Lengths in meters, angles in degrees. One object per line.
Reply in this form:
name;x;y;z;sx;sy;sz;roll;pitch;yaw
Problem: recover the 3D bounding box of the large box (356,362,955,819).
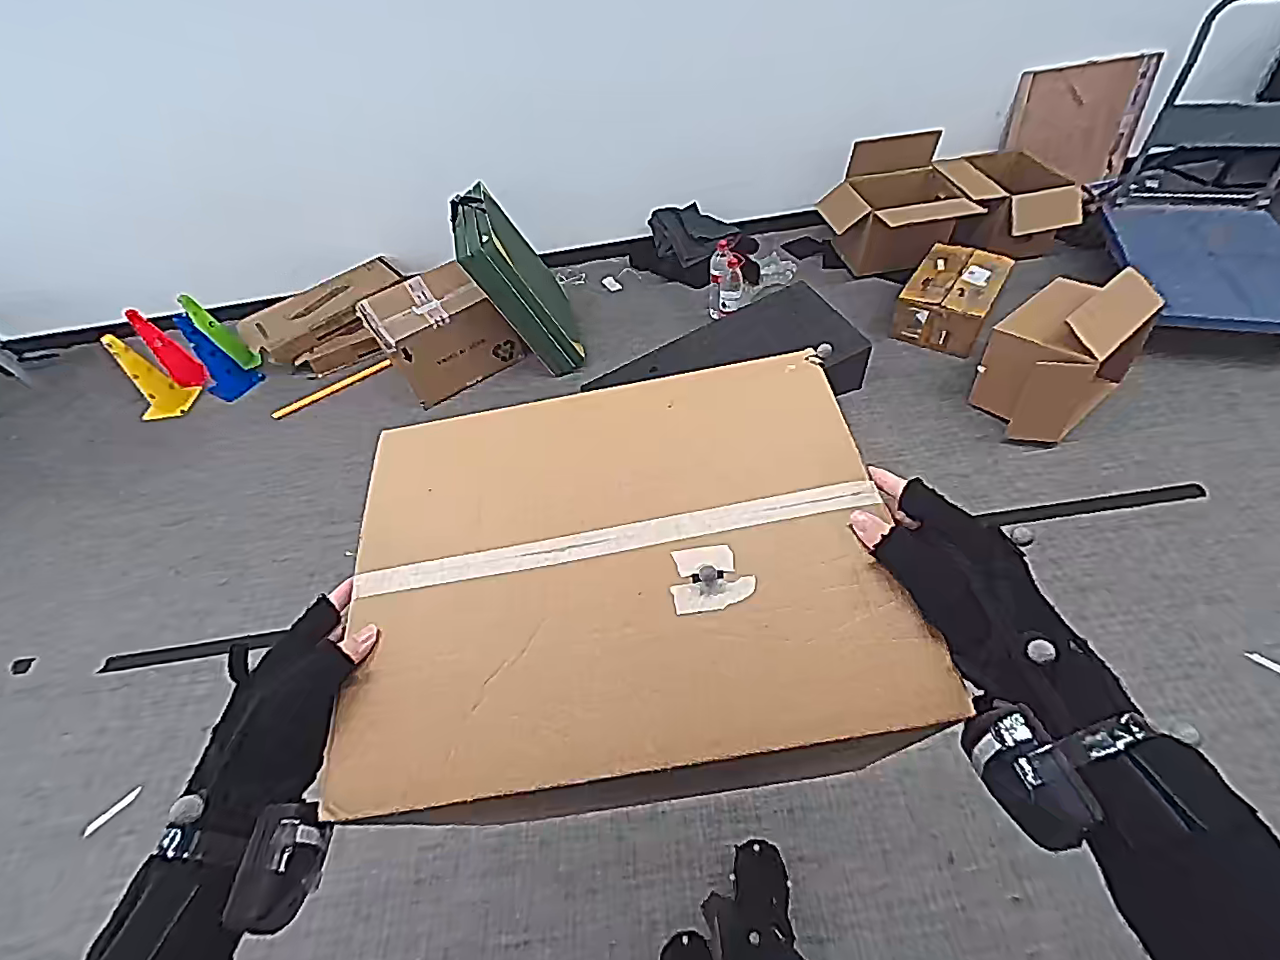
large box;0.004;0.131;0.551;0.408;0.320;0.320;-10;57;1
